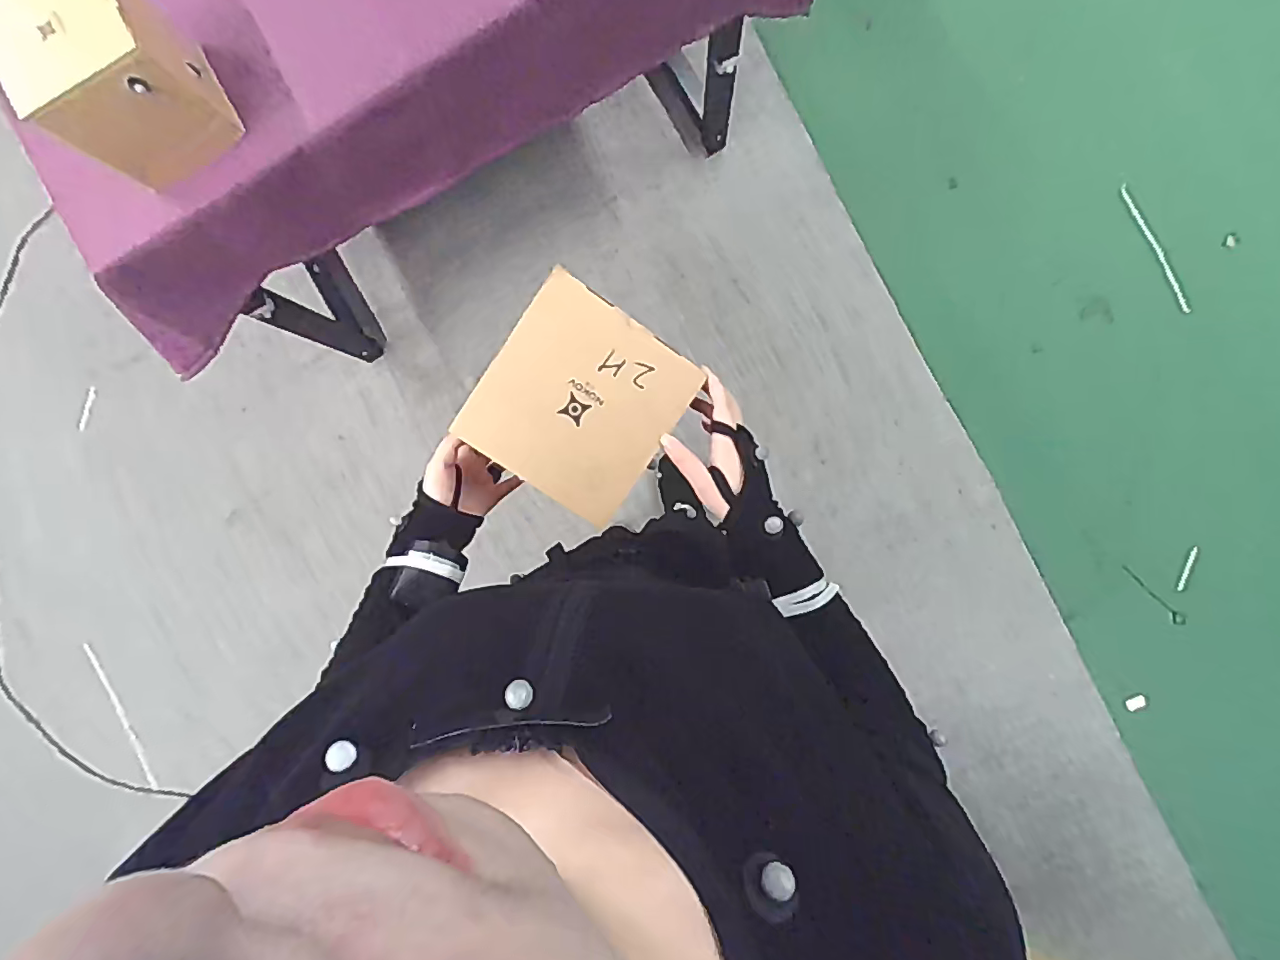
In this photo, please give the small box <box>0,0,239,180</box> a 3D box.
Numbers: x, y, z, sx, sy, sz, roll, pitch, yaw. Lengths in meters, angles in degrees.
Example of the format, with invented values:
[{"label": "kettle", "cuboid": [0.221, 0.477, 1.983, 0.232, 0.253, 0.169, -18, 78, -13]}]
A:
[{"label": "small box", "cuboid": [-0.707, -0.553, 0.731, 0.179, 0.176, 0.168, -29, 88, 2]}]
